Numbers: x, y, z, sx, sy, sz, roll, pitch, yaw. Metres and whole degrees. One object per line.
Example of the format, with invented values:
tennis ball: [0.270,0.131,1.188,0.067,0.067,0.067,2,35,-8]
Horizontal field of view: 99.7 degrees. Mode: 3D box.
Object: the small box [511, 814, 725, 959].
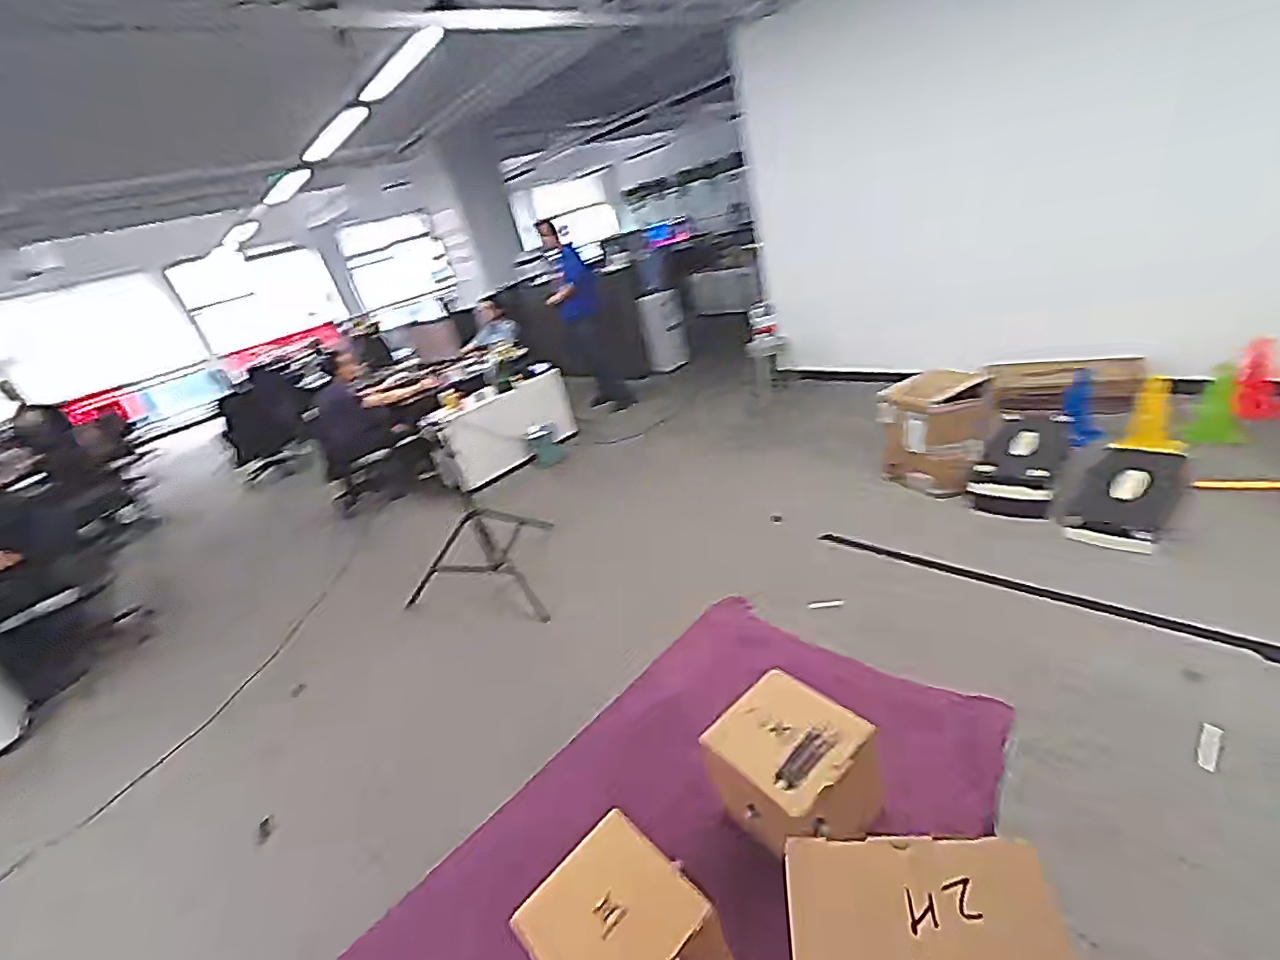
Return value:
small box: [-0.019,0.558,0.637,0.168,0.176,0.179,-33,31,-33]
